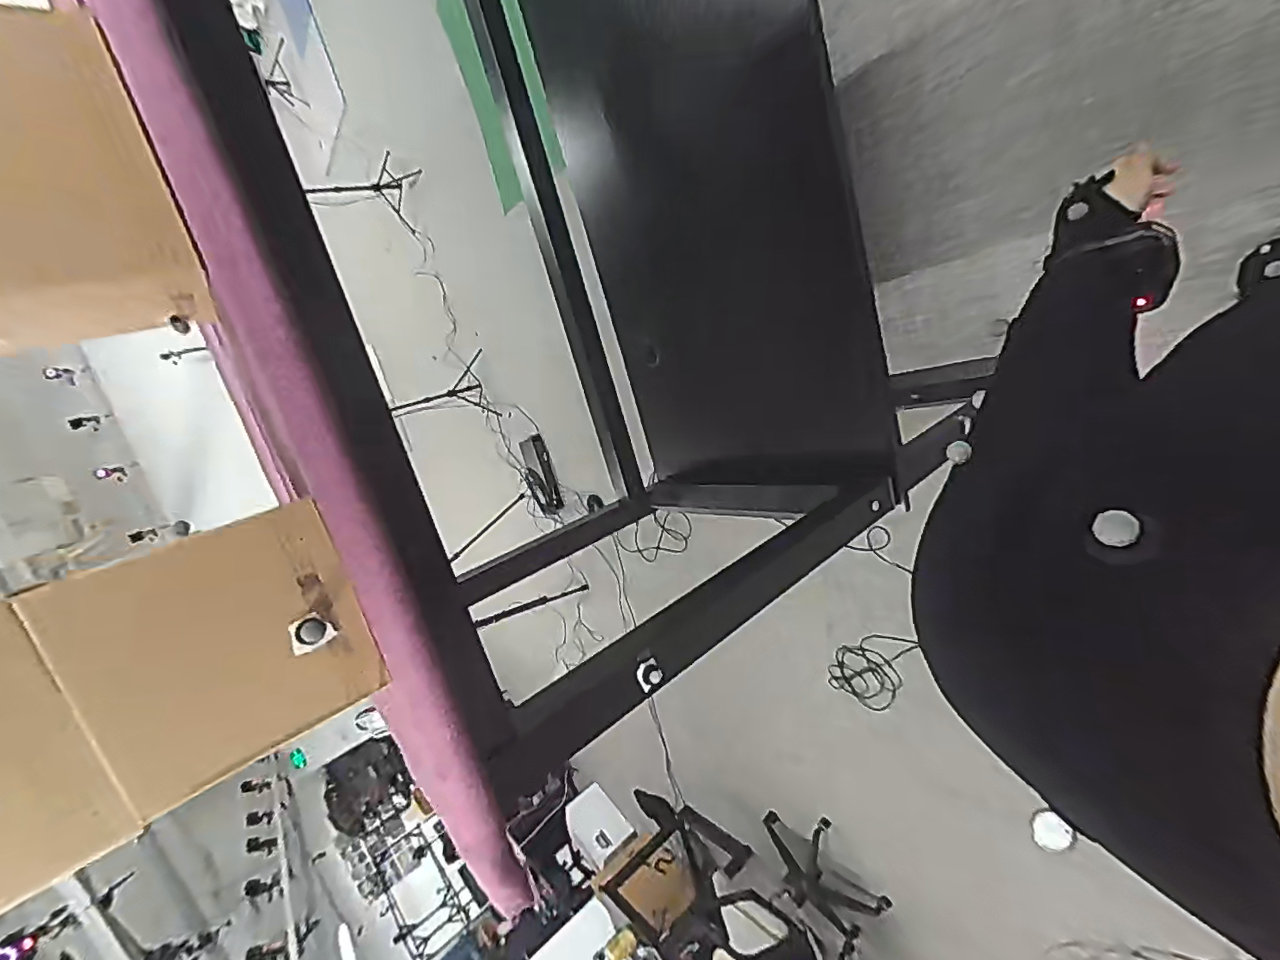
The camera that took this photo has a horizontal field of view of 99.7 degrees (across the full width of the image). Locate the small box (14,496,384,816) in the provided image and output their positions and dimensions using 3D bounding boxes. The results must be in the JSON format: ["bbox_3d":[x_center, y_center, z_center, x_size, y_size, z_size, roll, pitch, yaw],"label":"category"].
[{"bbox_3d":[-0.335,0.119,0.448,0.179,0.176,0.168,-7,105,54],"label":"small box"}]

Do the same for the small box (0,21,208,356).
[{"bbox_3d":[-0.455,-0.207,0.406,0.168,0.176,0.179,1,111,54],"label":"small box"}]

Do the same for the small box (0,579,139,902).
[{"bbox_3d":[-0.458,0.182,0.358,0.168,0.176,0.179,-8,105,54],"label":"small box"}]
